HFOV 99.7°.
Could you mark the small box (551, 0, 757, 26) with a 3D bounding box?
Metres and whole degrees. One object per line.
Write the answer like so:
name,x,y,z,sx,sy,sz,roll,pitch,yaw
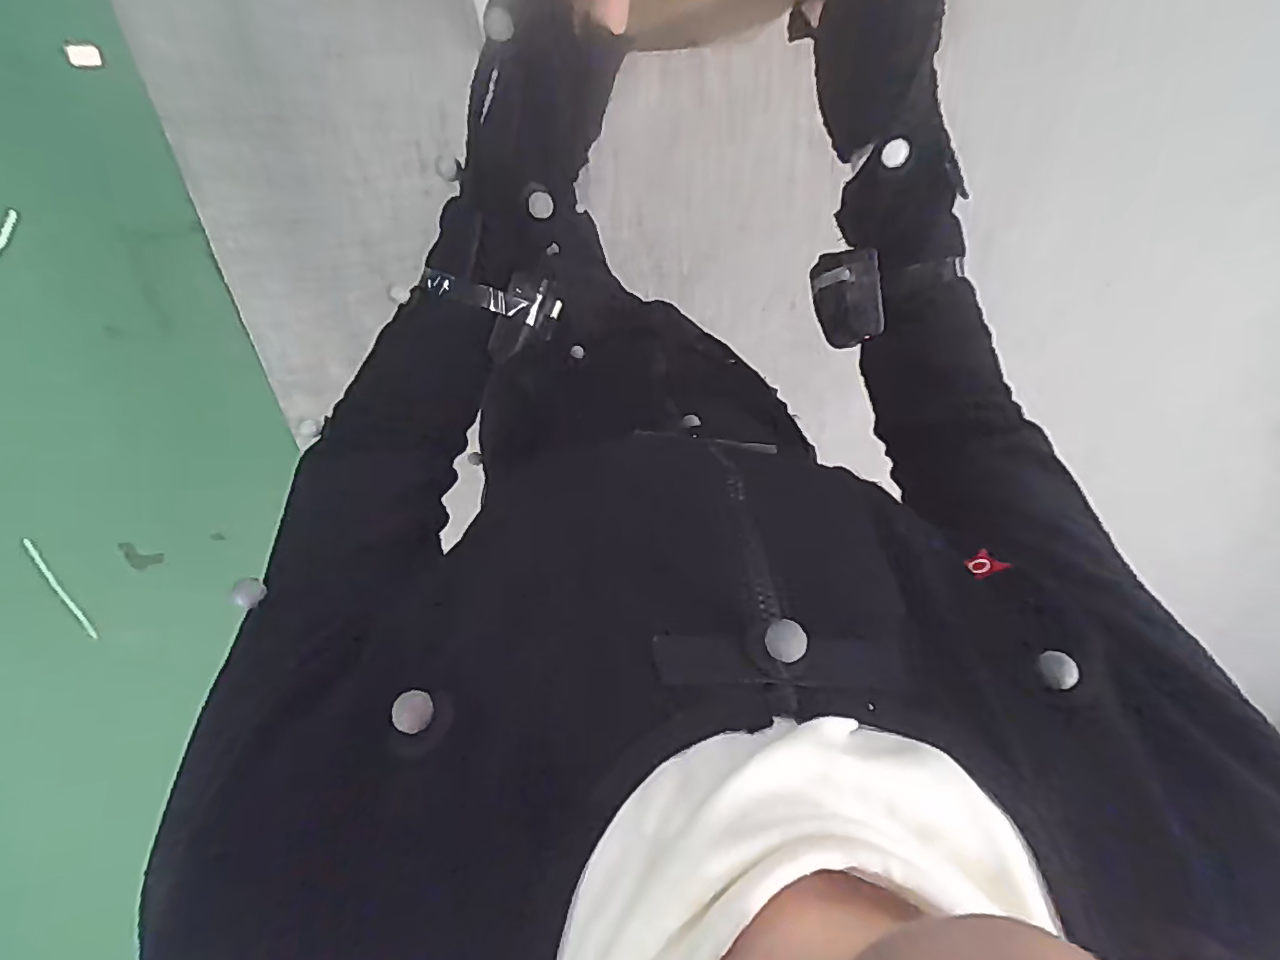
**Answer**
small box,0.013,-0.413,0.336,0.168,0.176,0.179,-8,116,-5
